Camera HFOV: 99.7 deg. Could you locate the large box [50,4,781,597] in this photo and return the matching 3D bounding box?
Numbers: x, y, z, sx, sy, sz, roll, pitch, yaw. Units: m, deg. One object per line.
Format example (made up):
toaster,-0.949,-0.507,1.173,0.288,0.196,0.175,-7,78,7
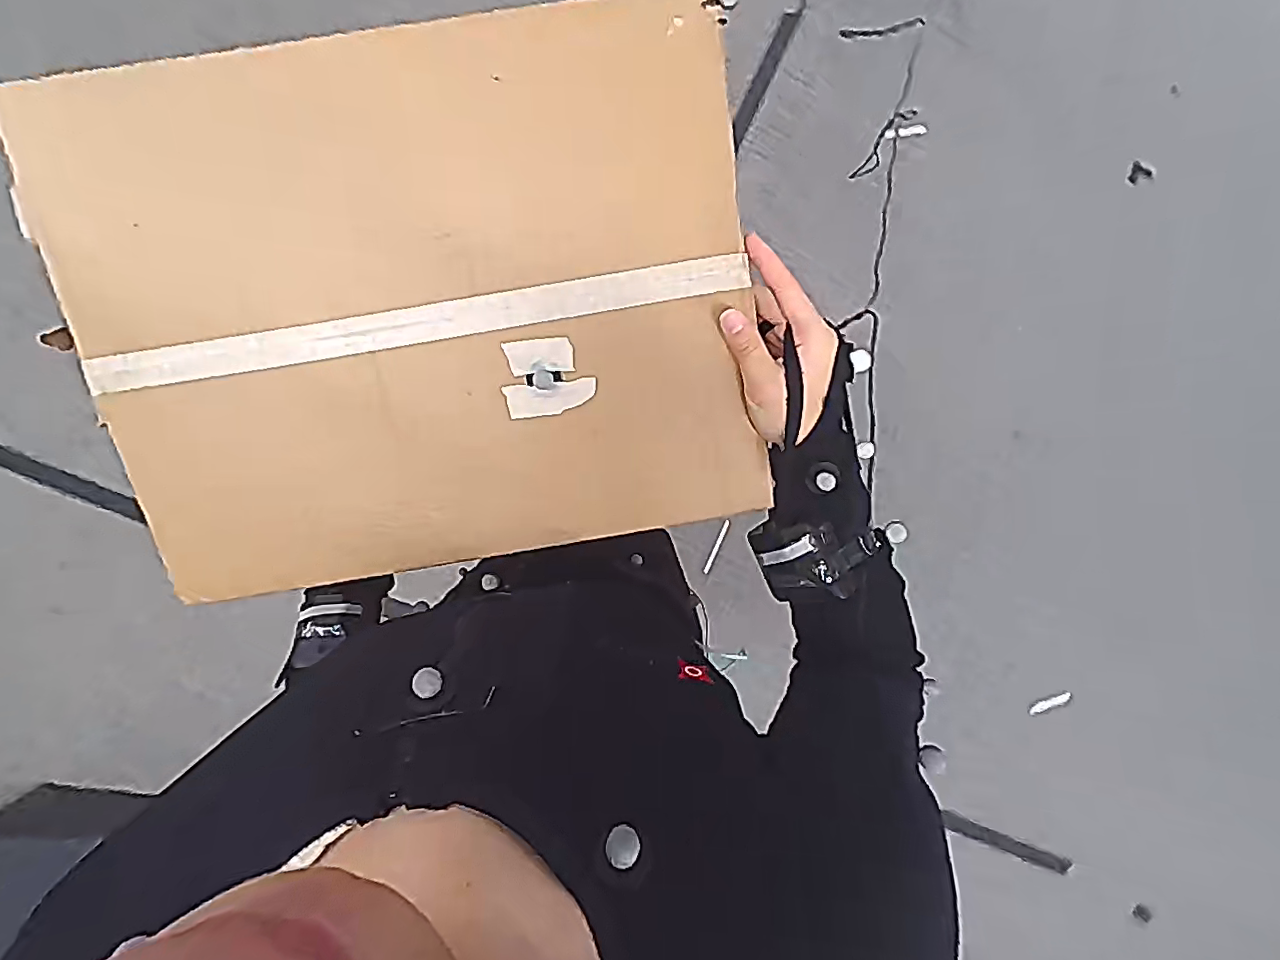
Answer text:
large box,-0.130,-0.130,0.489,0.408,0.320,0.320,-10,104,-2
